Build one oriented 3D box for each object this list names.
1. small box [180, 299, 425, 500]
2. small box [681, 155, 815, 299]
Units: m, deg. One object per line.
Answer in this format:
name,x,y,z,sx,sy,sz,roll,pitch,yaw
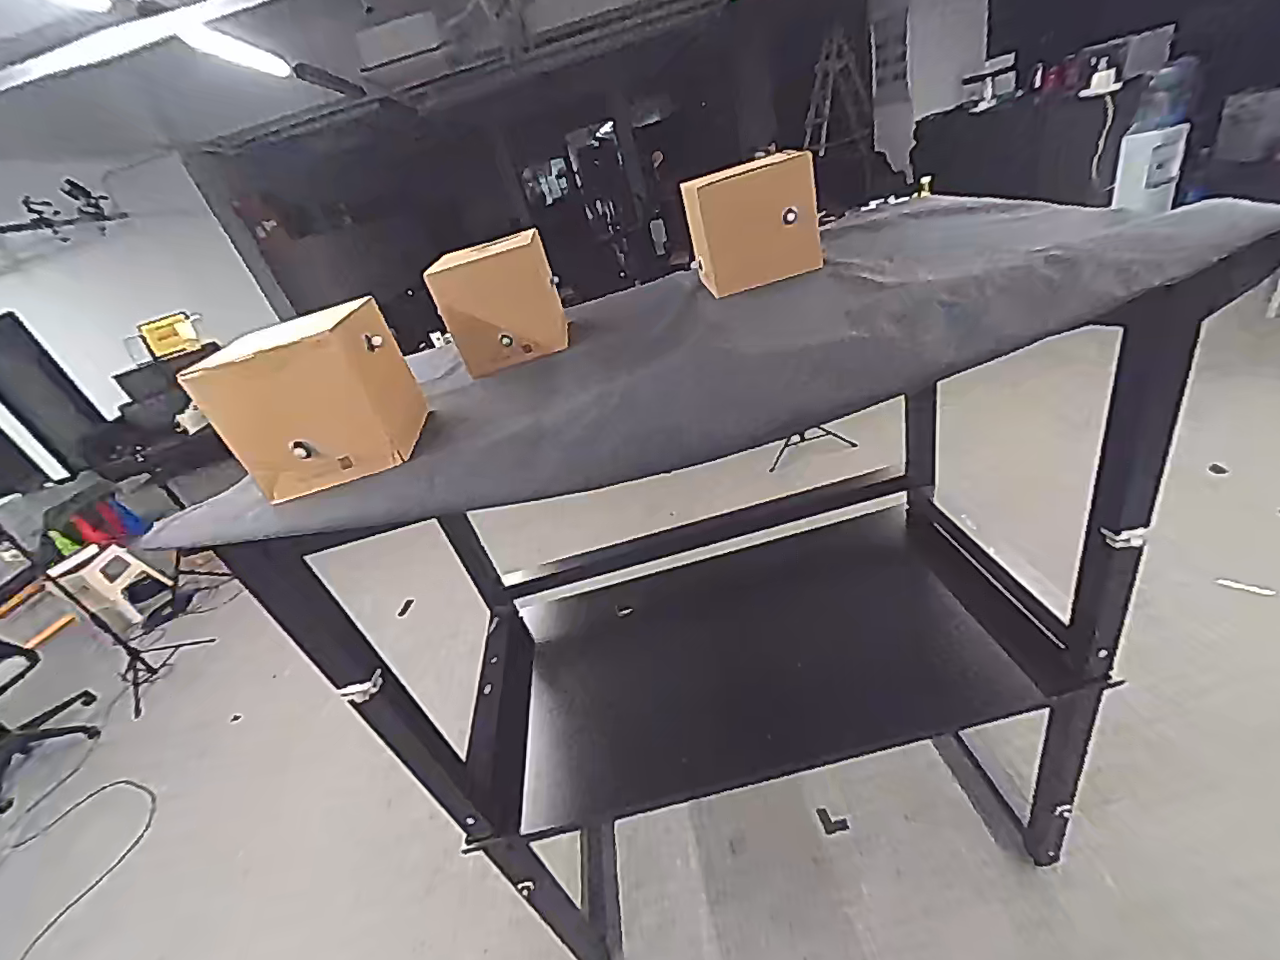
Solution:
small box,-0.385,-0.102,0.661,0.168,0.176,0.179,-18,31,-1
small box,0.178,-0.416,0.888,0.179,0.176,0.168,-15,30,4
